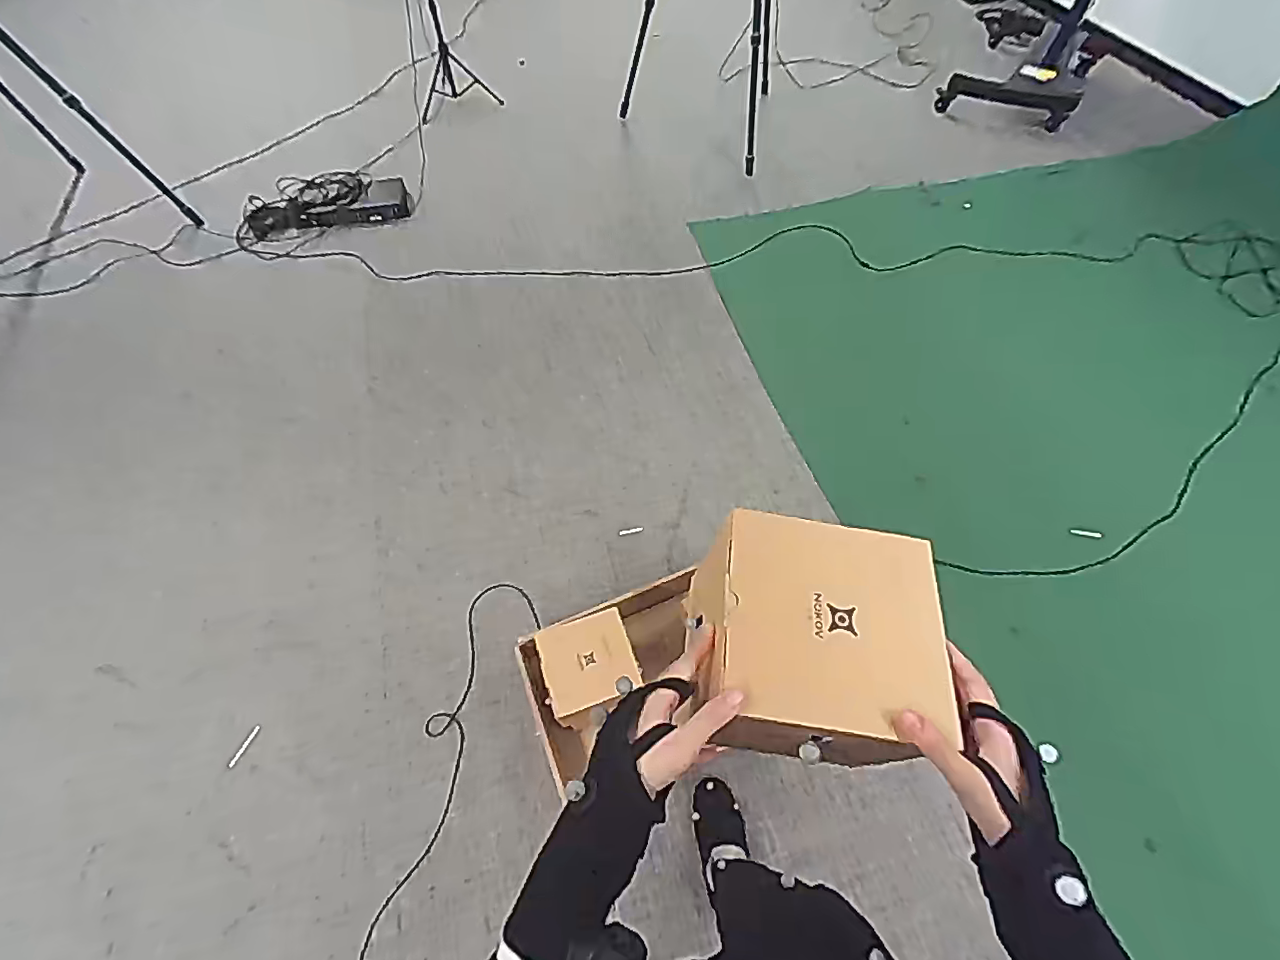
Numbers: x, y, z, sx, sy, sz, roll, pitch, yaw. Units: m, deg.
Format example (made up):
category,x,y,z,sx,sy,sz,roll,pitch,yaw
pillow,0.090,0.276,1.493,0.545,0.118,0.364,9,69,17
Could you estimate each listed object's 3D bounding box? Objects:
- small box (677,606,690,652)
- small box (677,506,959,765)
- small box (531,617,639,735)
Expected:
category,x,y,z,sx,sy,sz,roll,pitch,yaw
small box,0.197,0.388,1.313,0.179,0.176,0.168,-16,61,-11
small box,0.141,0.147,0.481,0.179,0.176,0.168,11,58,0
small box,-0.110,0.404,1.101,0.179,0.176,0.168,-15,62,-12
